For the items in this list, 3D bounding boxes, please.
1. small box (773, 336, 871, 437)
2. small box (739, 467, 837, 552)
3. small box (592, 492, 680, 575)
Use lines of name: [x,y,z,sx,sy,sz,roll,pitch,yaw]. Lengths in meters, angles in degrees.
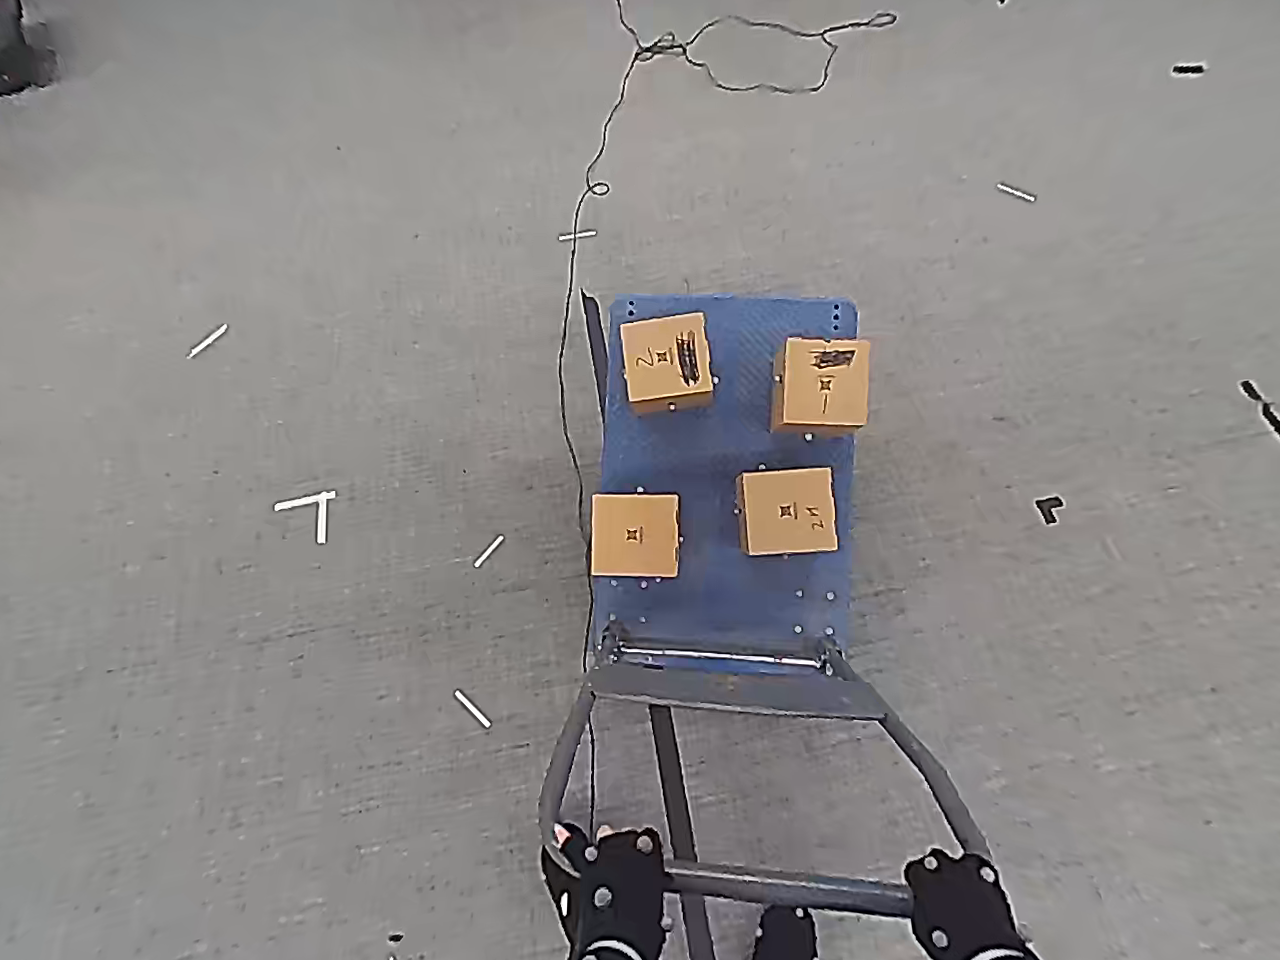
small box: [0.380,-0.194,1.155,0.168,0.176,0.179,3,88,6]
small box: [0.304,0.064,1.147,0.179,0.176,0.168,-4,87,5]
small box: [-0.003,0.113,1.173,0.179,0.176,0.168,0,87,4]
